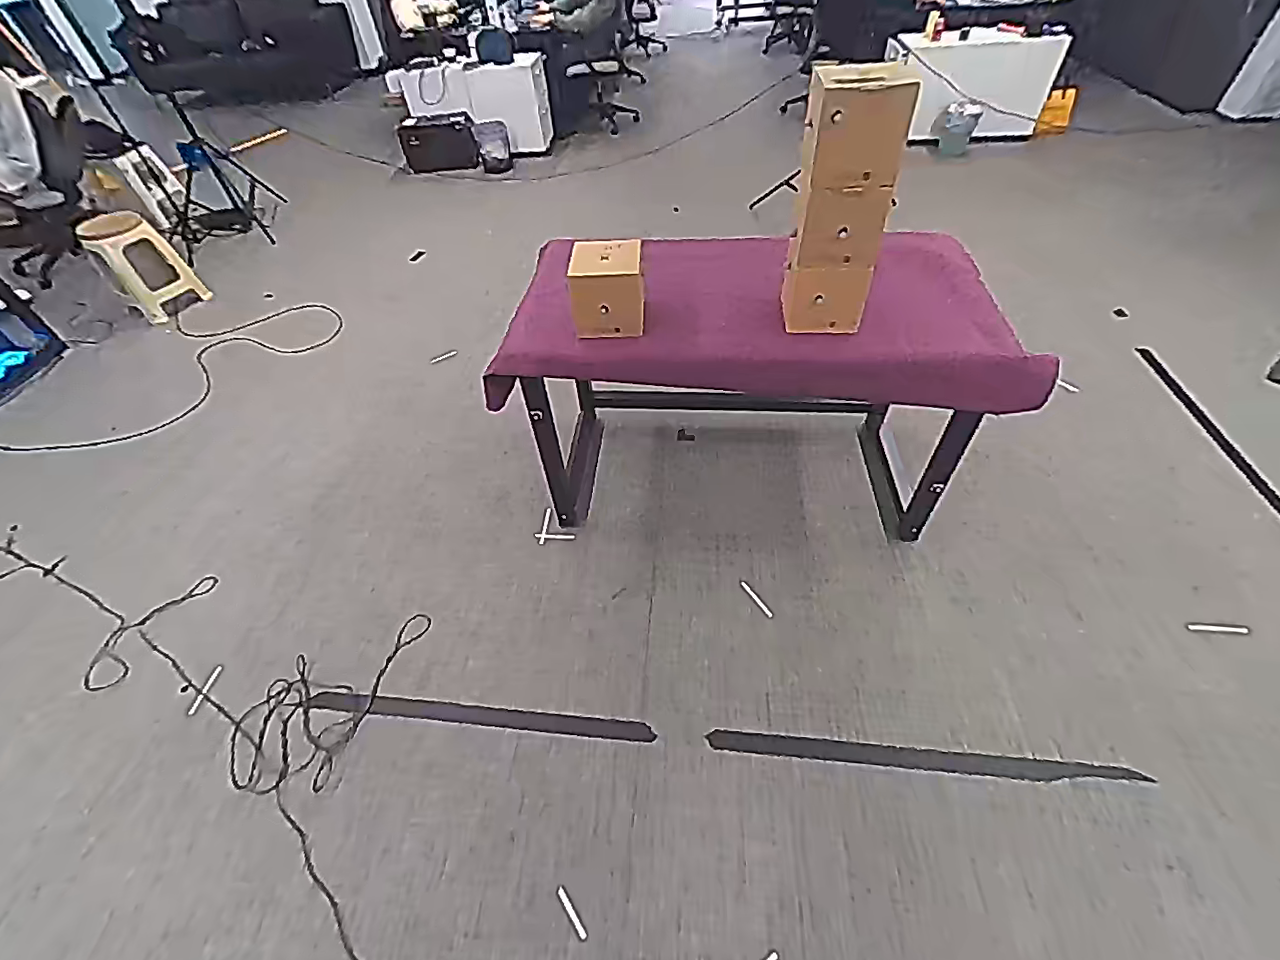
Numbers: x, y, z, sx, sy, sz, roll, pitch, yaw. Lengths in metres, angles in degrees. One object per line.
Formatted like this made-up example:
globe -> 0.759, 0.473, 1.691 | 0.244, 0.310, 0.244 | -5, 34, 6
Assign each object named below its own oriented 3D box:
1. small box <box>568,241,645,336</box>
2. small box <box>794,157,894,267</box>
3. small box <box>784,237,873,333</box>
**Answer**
small box -> -0.074, -0.469, 1.337 | 0.168, 0.176, 0.179 | -1, 47, 3
small box -> 0.435, -0.581, 1.182 | 0.168, 0.176, 0.179 | 2, 49, 7
small box -> 0.444, -0.468, 1.301 | 0.168, 0.176, 0.179 | 2, 48, 7
